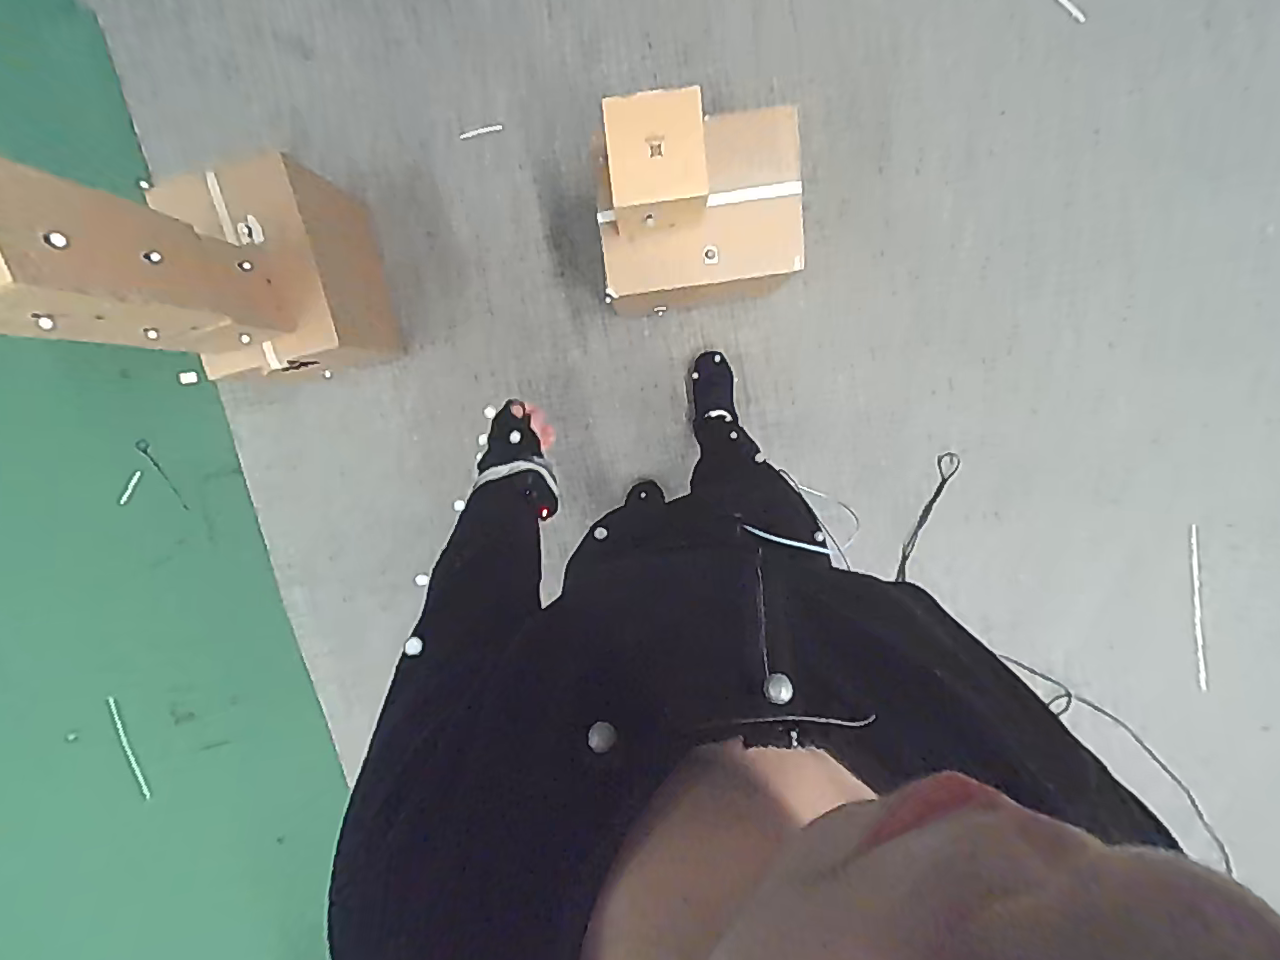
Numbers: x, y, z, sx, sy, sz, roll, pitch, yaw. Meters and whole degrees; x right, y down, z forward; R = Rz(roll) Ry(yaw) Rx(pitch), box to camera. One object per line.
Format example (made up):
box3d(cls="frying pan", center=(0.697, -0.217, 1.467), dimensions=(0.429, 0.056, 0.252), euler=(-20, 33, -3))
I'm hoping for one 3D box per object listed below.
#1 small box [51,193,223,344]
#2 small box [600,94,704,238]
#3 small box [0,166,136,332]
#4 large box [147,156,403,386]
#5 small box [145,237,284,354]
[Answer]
box3d(cls="small box", center=(-0.848, -0.333, 0.894), dimensions=(0.168, 0.176, 0.179), euler=(-18, 97, 5))
box3d(cls="small box", center=(0.025, -0.557, 0.987), dimensions=(0.168, 0.176, 0.179), euler=(-6, 96, 3))
box3d(cls="small box", center=(-0.853, -0.307, 0.731), dimensions=(0.168, 0.176, 0.179), euler=(-16, 98, 5))
box3d(cls="large box", center=(-0.828, -0.459, 1.286), dimensions=(0.320, 0.320, 0.408), euler=(-12, 97, 4))
box3d(cls="small box", center=(-0.840, -0.351, 1.056), dimensions=(0.179, 0.176, 0.168), euler=(-13, 97, 5))
